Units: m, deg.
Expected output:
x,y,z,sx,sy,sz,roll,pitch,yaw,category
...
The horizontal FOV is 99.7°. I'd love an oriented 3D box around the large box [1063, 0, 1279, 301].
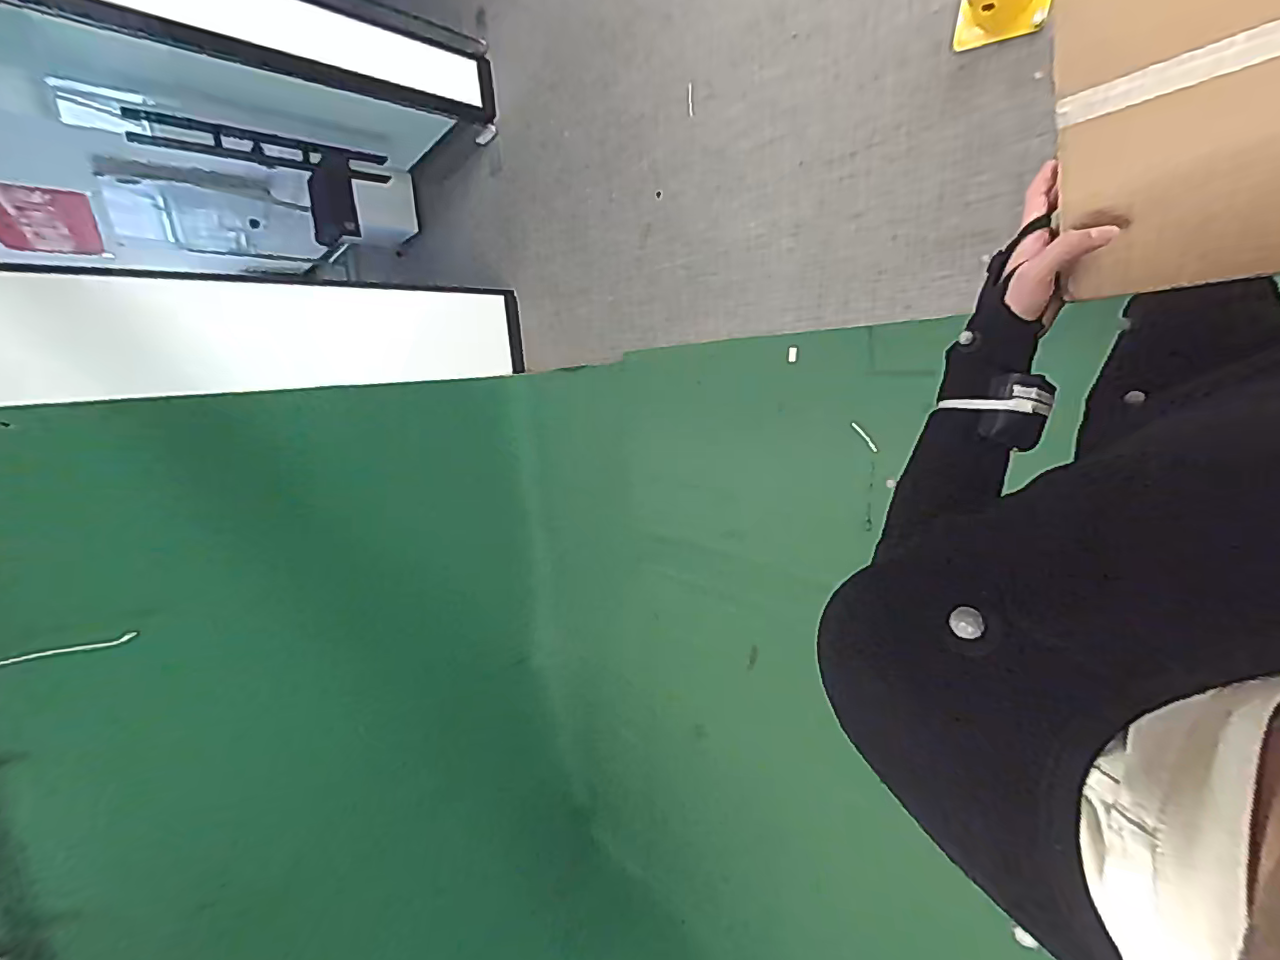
x,y,z,sx,sy,sz,roll,pitch,yaw,category
0.596,-0.355,0.398,0.408,0.320,0.320,4,117,48,large box
